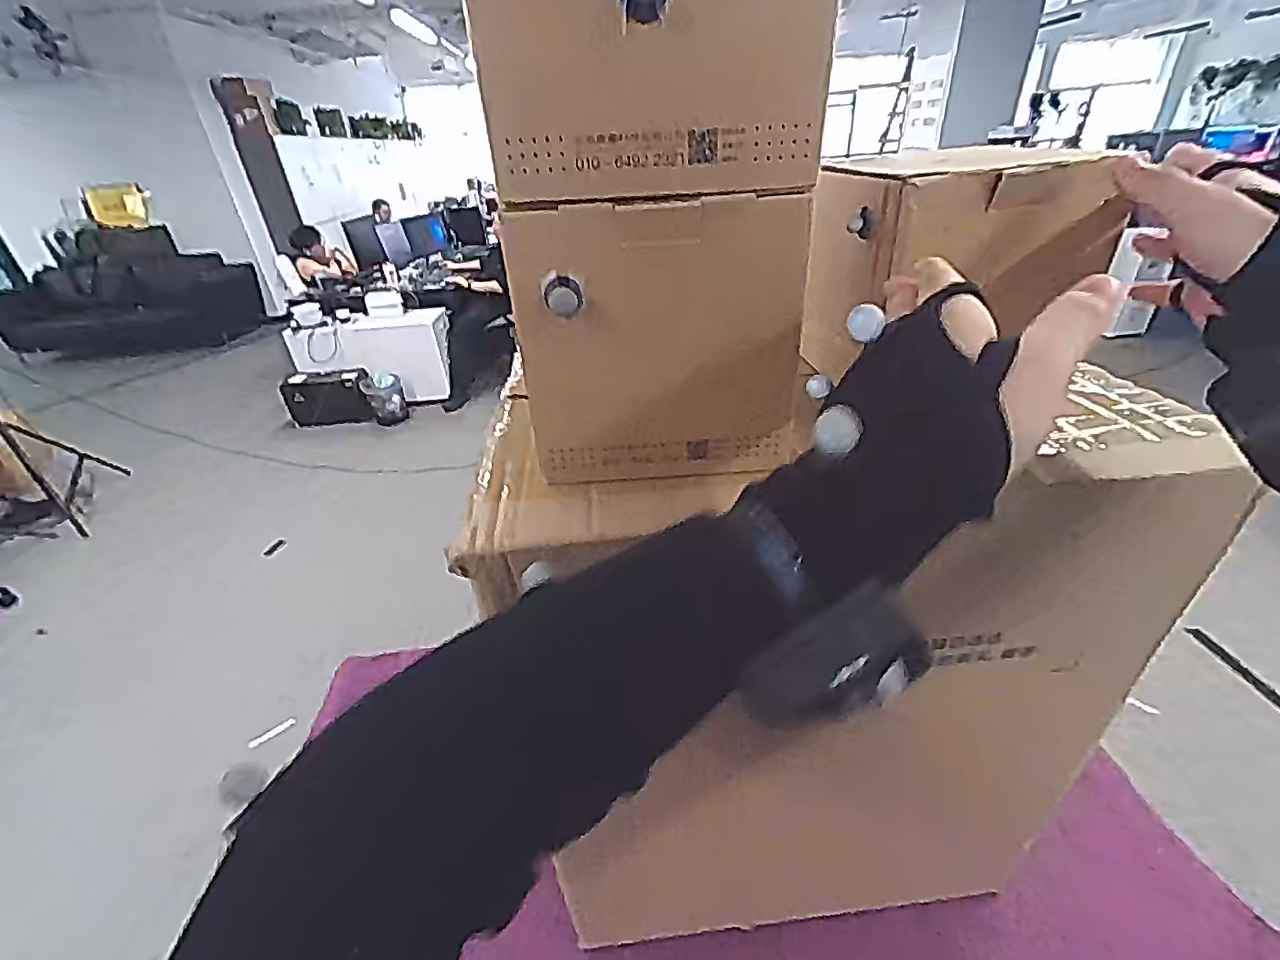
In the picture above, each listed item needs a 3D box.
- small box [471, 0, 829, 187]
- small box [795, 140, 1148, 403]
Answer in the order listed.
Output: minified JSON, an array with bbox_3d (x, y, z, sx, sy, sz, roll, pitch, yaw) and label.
[{"bbox_3d":[0.002,-0.263,0.301,0.168,0.176,0.179,-3,31,-2],"label":"small box"},{"bbox_3d":[0.240,-0.178,0.453,0.168,0.176,0.179,-8,33,-3],"label":"small box"}]
